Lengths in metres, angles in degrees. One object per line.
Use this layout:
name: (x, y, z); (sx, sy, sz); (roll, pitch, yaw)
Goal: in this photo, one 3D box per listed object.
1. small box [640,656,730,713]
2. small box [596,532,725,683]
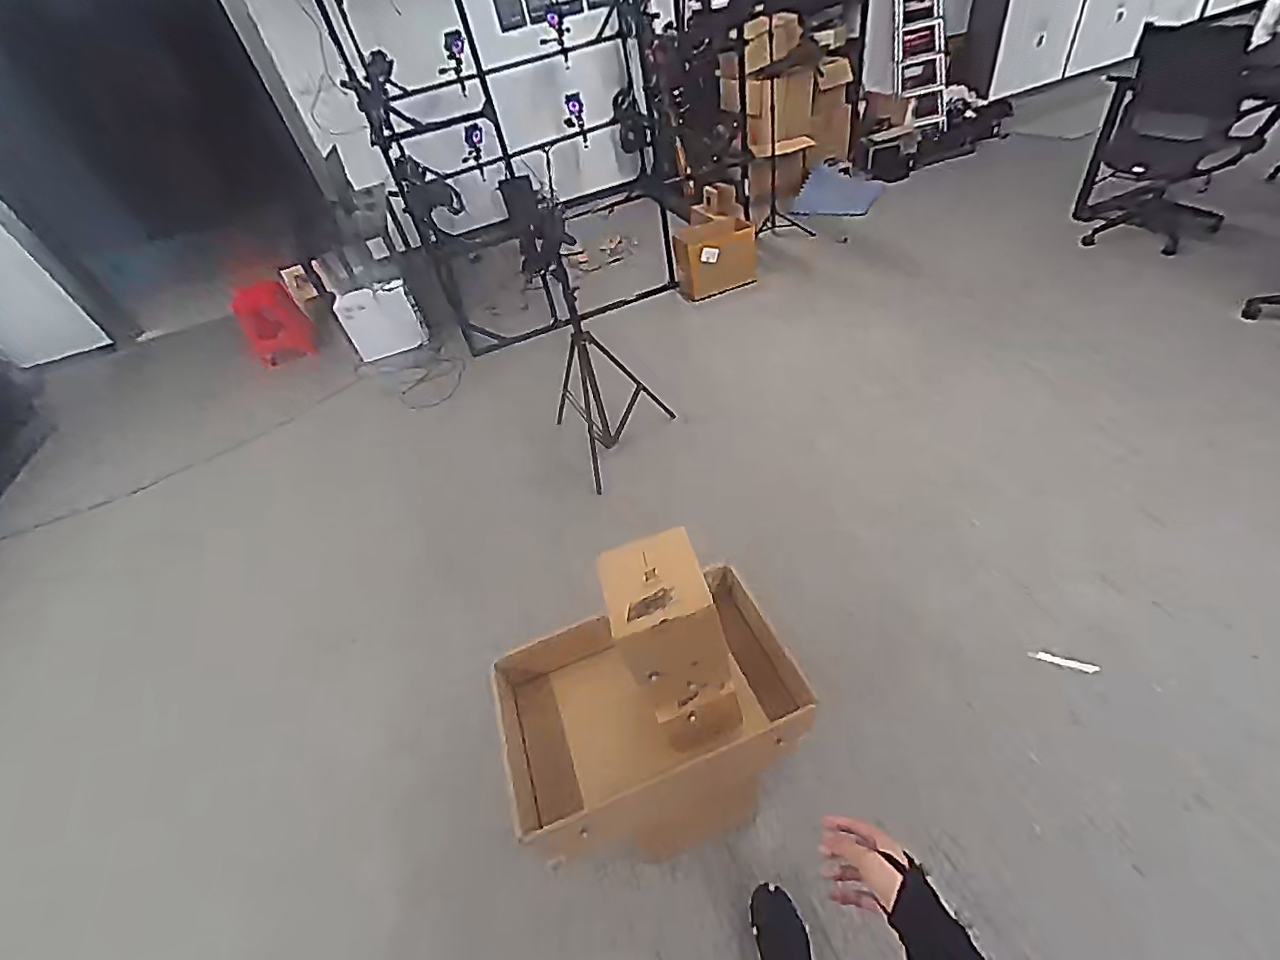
small box: (0.063, 0.321, 1.065); (0.168, 0.176, 0.179); (-22, 43, -4)
small box: (0.038, 0.226, 0.929); (0.168, 0.176, 0.179); (-18, 42, 0)
